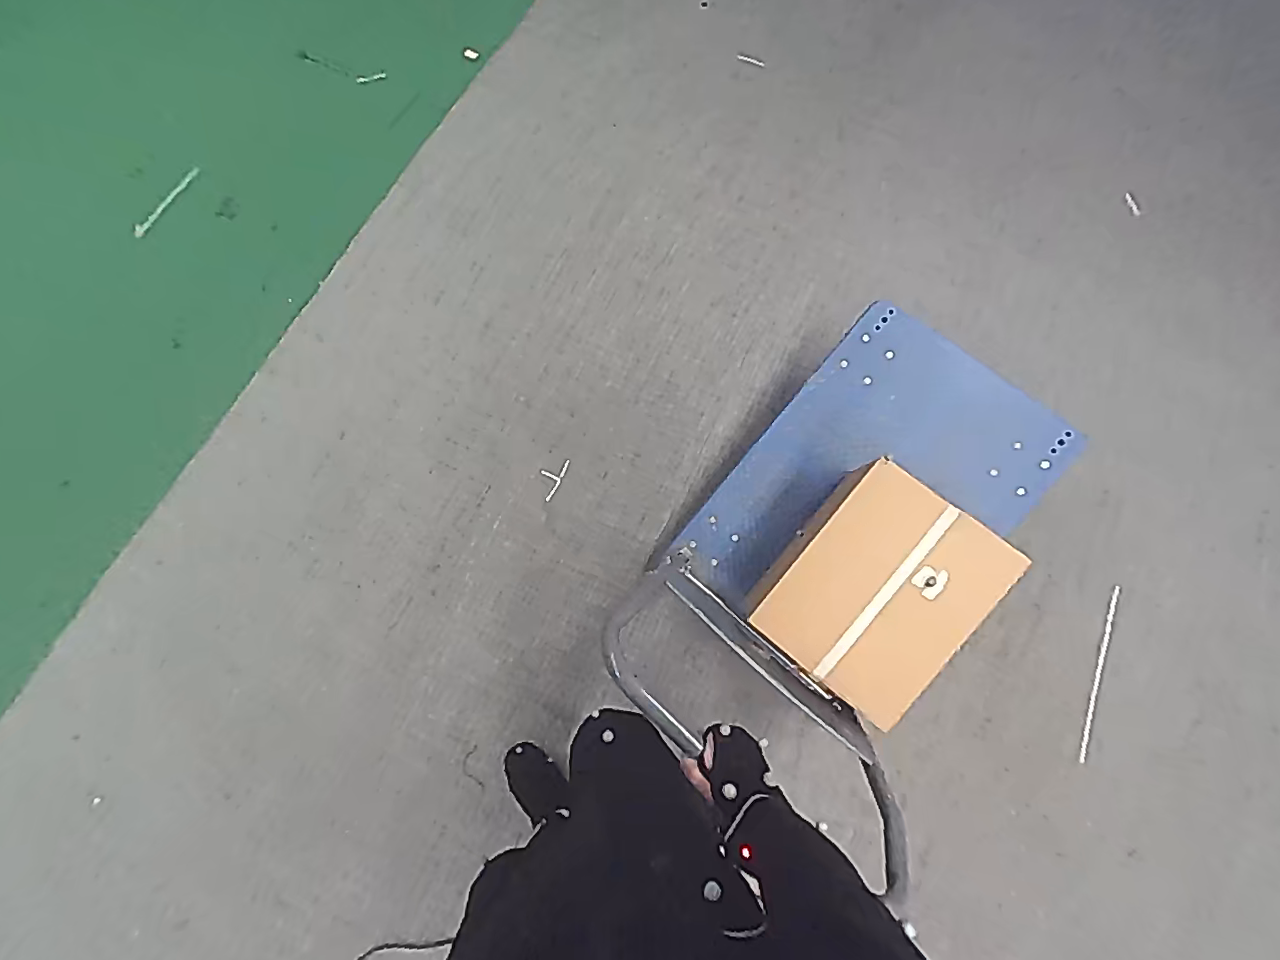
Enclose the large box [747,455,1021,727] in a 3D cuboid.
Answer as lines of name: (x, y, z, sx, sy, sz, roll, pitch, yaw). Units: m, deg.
large box: (0.466, 0.213, 1.137, 0.320, 0.320, 0.408, 39, 93, 10)
